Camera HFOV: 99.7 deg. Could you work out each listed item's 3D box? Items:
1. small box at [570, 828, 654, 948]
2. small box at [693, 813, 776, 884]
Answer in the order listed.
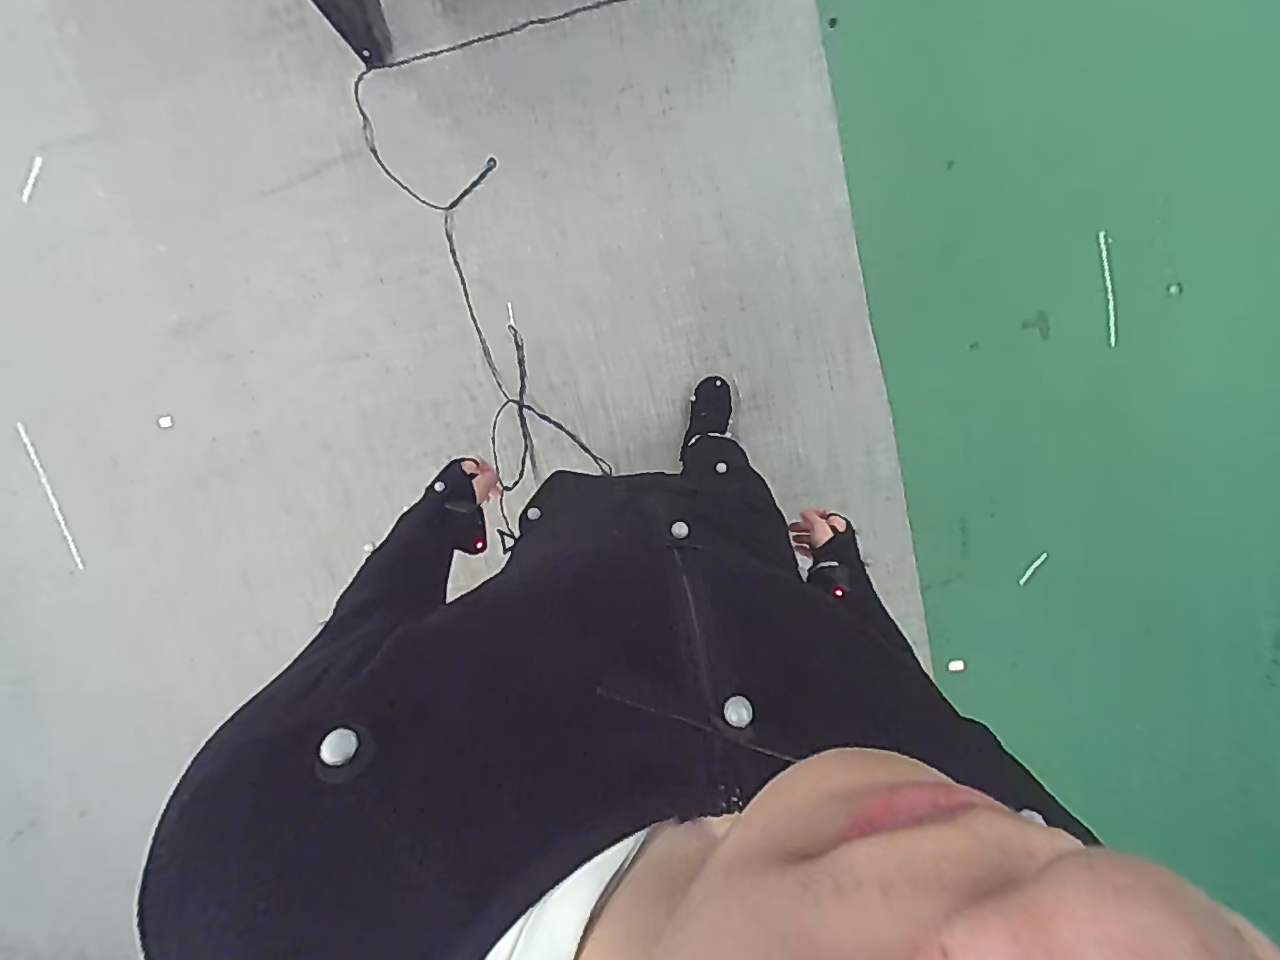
[{"bbox_3d":[-0.061,0.941,1.250,0.168,0.176,0.179,-8,98,2],"label":"small box"},{"bbox_3d":[0.215,0.905,1.238,0.168,0.176,0.179,-6,98,1],"label":"small box"}]
